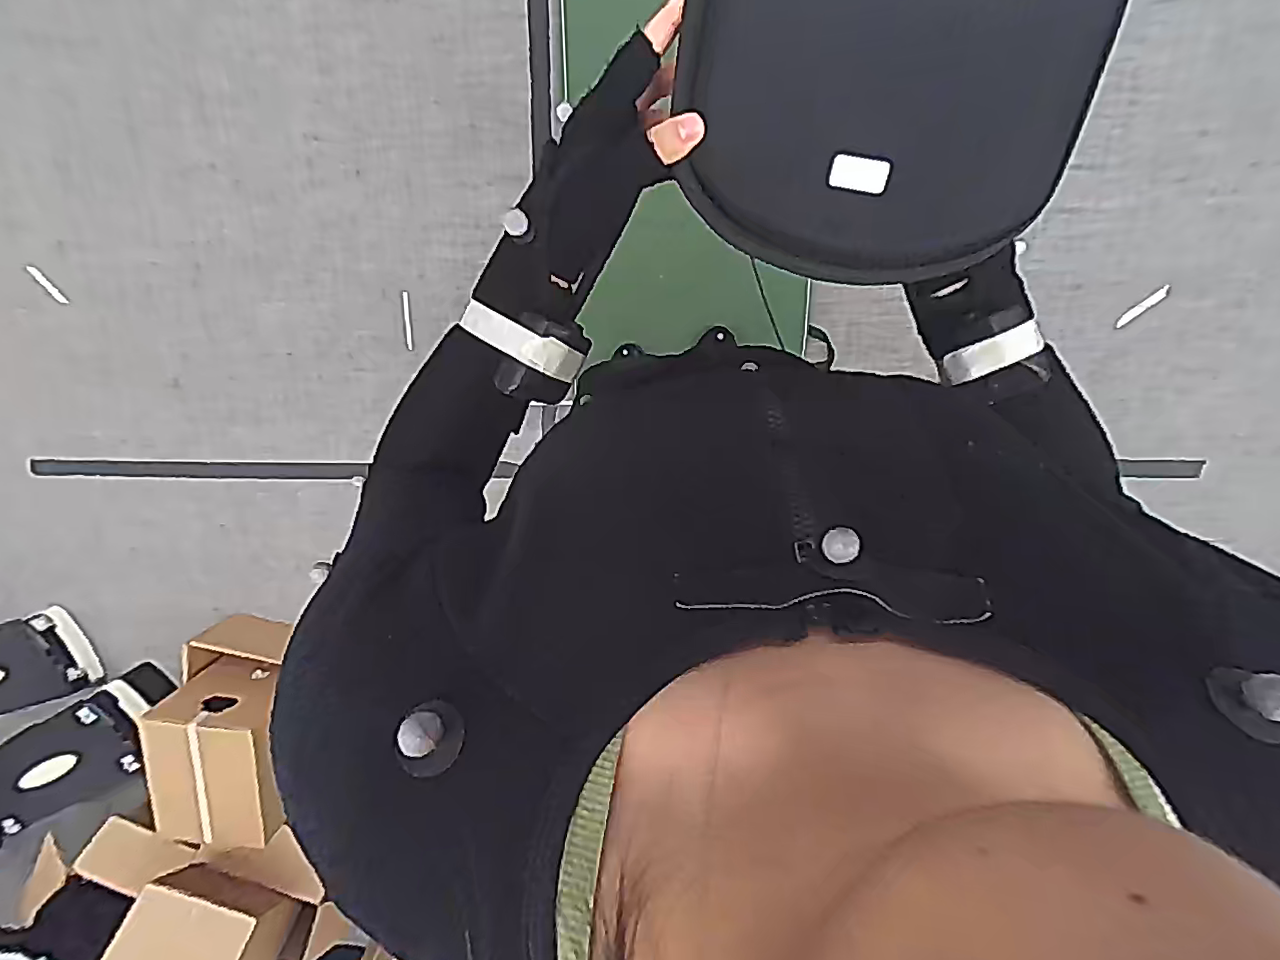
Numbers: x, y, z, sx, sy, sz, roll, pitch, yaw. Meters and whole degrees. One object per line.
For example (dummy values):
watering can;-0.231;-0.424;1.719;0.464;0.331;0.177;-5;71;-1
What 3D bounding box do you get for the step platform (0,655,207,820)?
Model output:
step platform;-1.832;0.858;1.797;0.684;0.204;0.286;-28;102;10
